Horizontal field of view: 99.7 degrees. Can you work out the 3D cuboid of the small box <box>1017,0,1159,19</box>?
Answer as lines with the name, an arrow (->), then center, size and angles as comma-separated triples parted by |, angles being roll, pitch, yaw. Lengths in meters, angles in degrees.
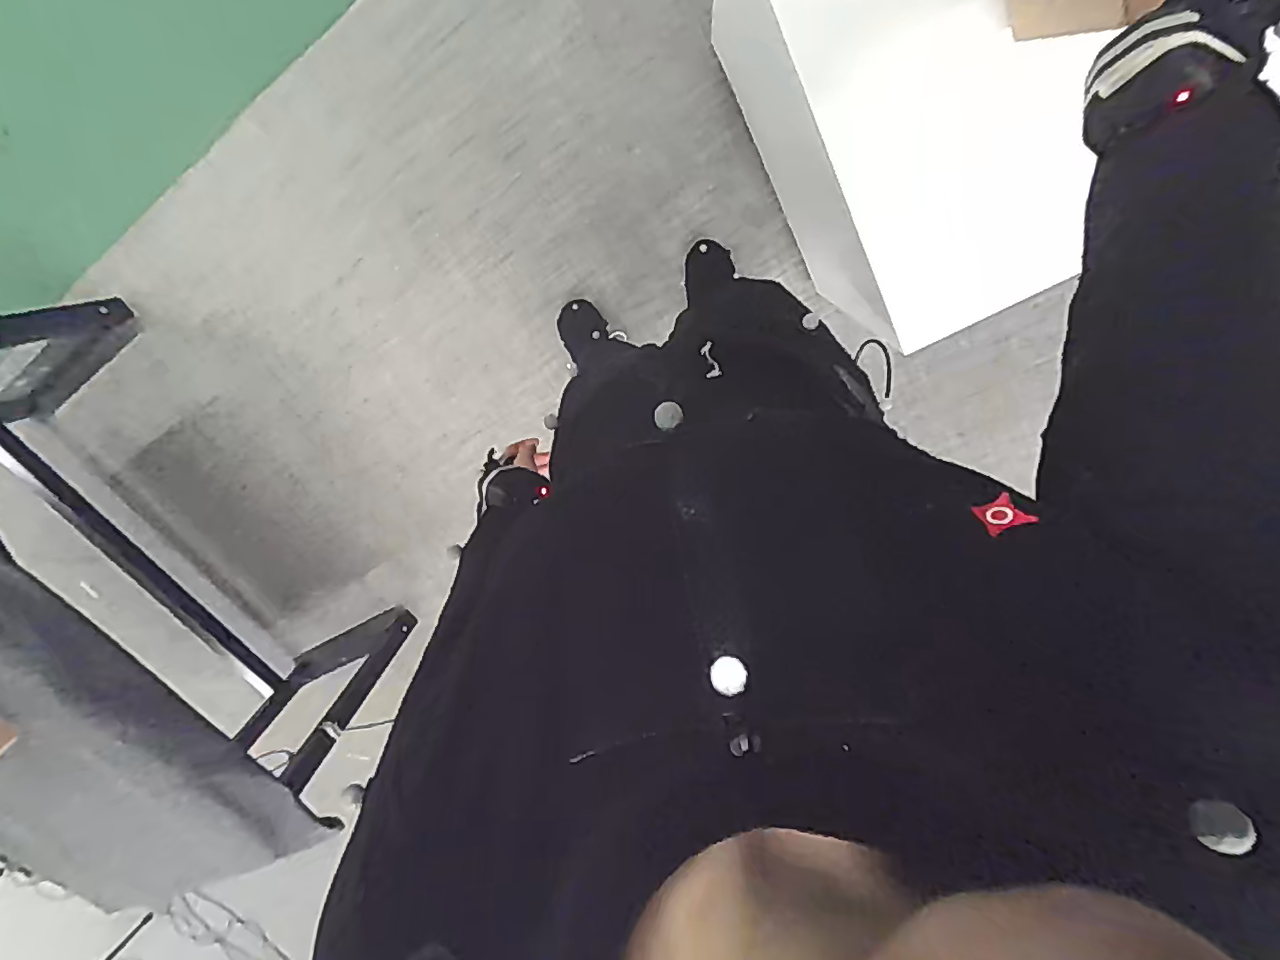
small box -> 0.366, -0.458, 0.365 | 0.168, 0.176, 0.179 | -26, 119, 22
